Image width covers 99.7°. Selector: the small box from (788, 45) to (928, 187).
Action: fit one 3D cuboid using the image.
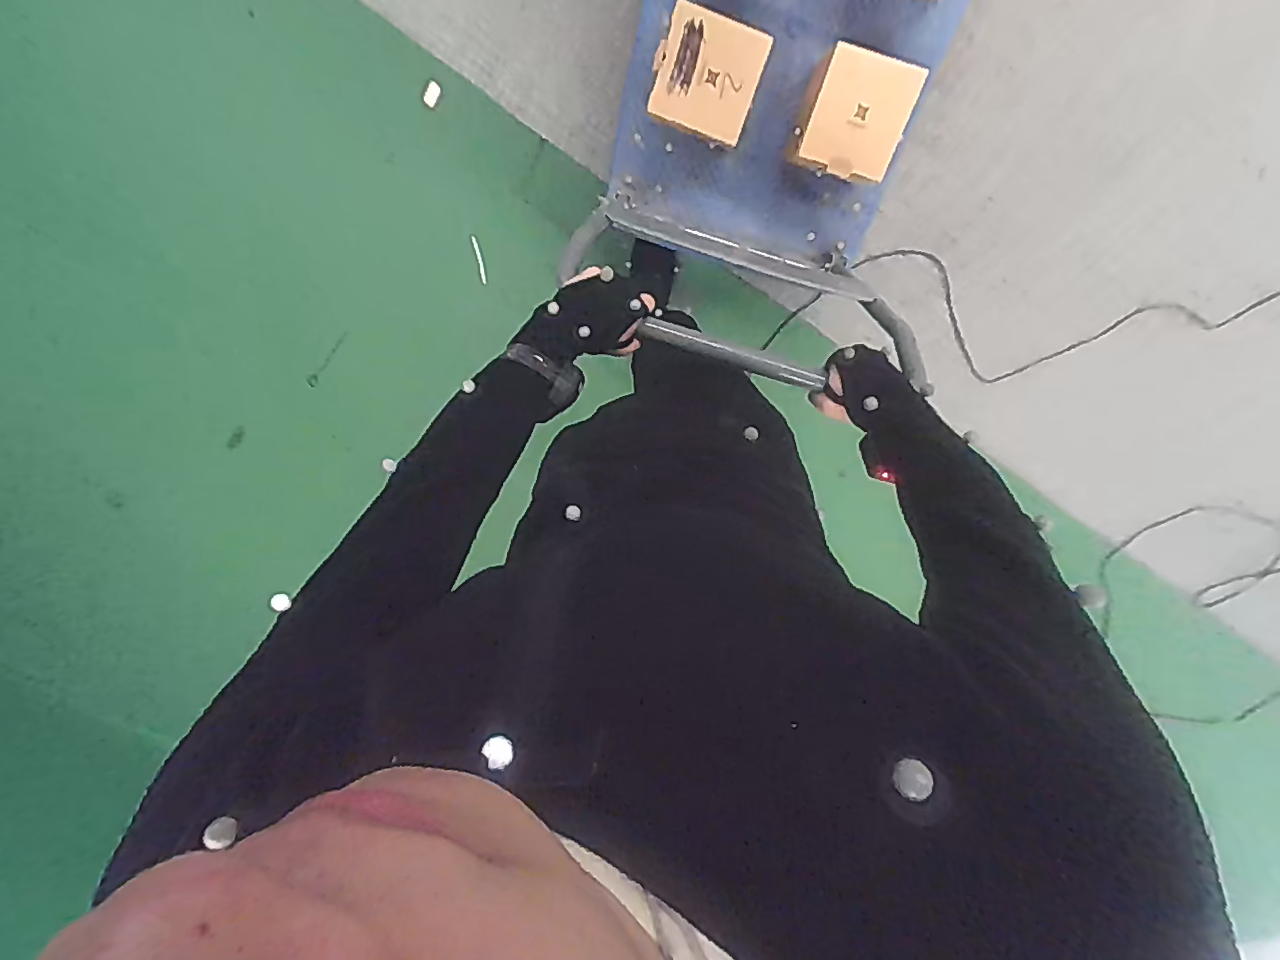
[{"bbox_3d":[0.394,-0.672,1.018,0.168,0.176,0.179,16,120,-4],"label":"small box"}]
